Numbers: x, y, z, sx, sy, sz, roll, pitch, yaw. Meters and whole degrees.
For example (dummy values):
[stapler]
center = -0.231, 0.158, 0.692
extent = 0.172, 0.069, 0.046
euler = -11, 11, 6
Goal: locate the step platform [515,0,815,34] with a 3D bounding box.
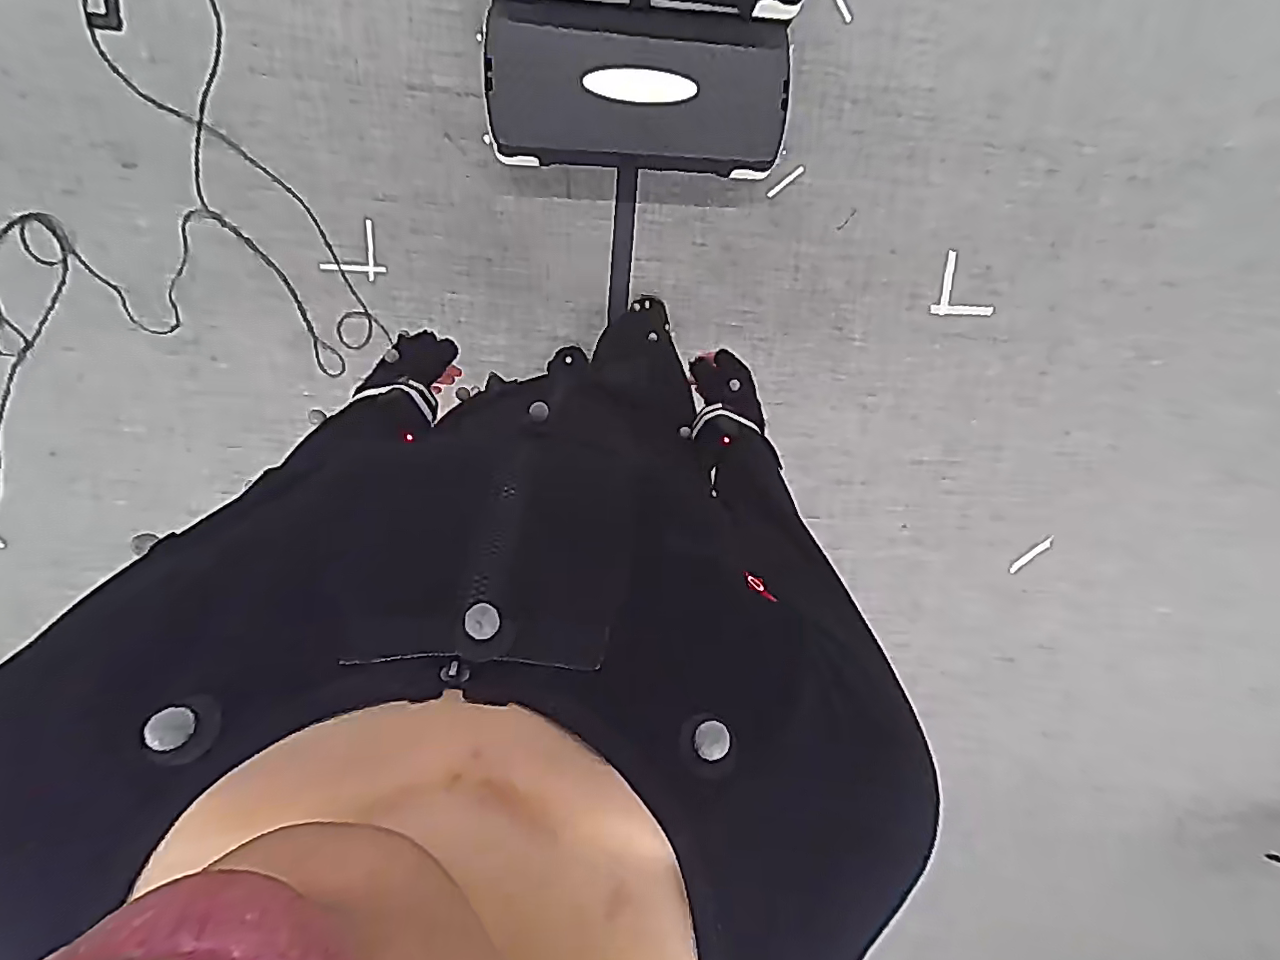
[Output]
[step platform]
center = 0.053, -1.141, 1.092
extent = 0.684, 0.204, 0.286
euler = 1, 105, -6
